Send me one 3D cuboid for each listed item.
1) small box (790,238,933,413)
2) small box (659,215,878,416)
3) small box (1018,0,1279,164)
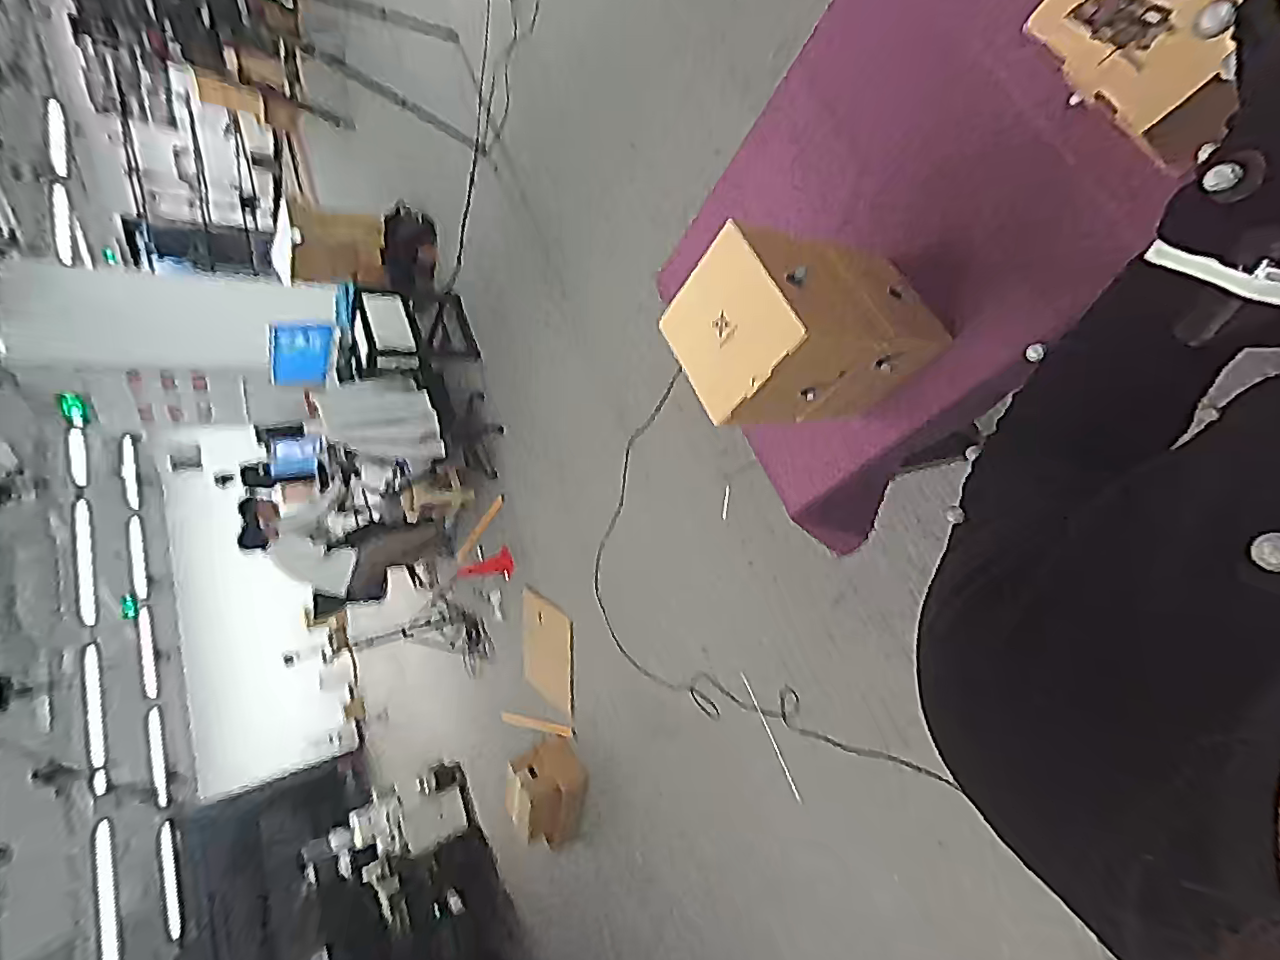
[{"bbox_3d":[0.292,-0.216,0.789,0.179,0.176,0.168,-48,60,45],"label":"small box"},{"bbox_3d":[0.161,-0.199,0.693,0.168,0.176,0.179,-48,61,45],"label":"small box"},{"bbox_3d":[0.498,-0.423,0.483,0.179,0.176,0.168,-44,63,46],"label":"small box"}]
